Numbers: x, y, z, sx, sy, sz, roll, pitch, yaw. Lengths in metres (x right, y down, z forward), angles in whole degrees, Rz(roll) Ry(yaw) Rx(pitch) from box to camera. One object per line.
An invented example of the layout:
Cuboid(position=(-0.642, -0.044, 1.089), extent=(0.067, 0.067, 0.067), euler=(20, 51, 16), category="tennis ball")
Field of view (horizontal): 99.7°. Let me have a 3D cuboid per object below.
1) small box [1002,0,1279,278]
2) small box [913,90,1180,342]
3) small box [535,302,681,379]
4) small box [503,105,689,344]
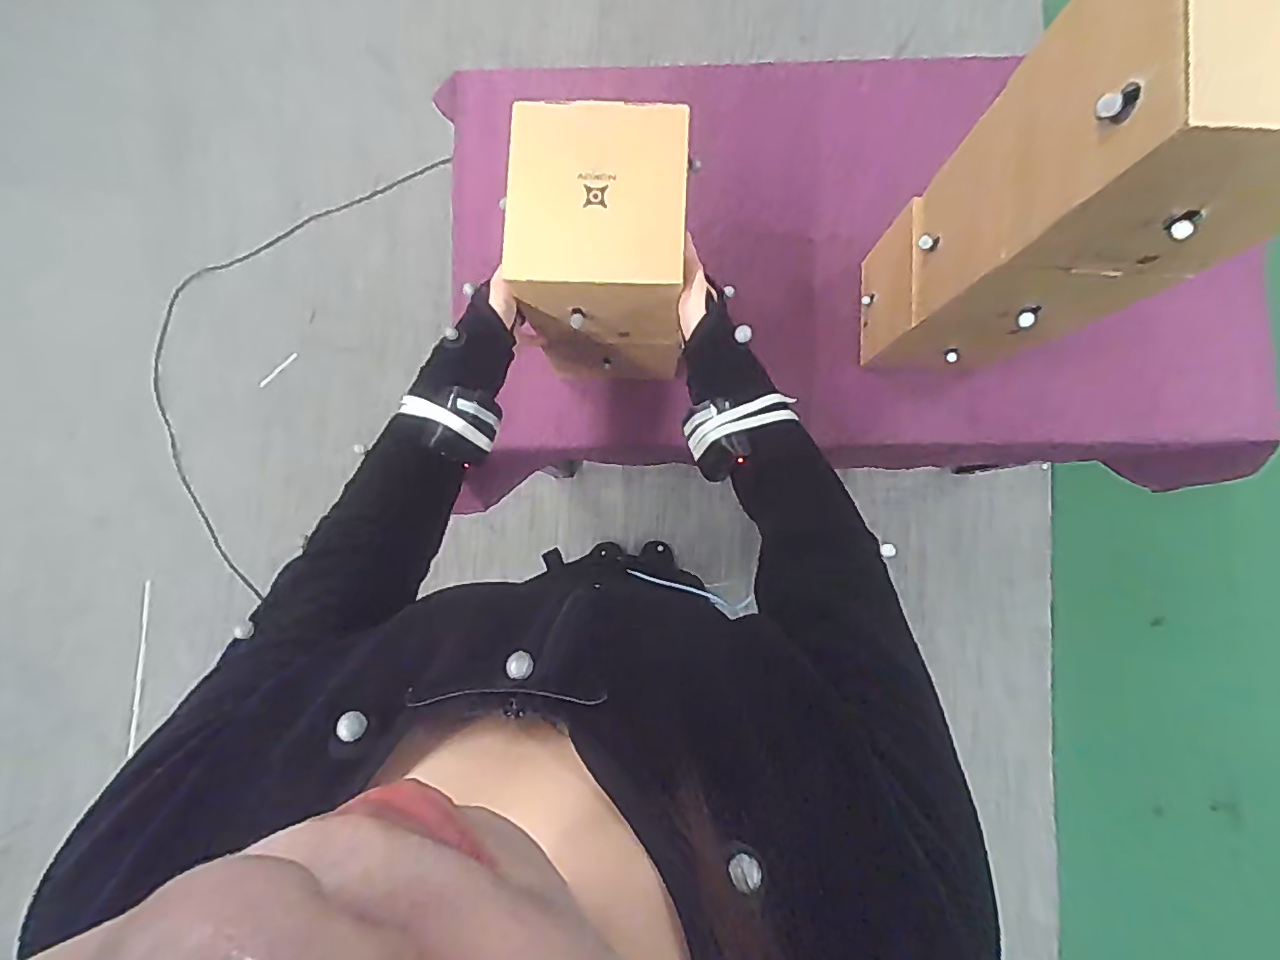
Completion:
Cuboid(position=(0.402, -0.269, 0.400), extent=(0.168, 0.176, 0.179), euler=(5, 85, 2), category="small box")
Cuboid(position=(0.408, -0.257, 0.565), extent=(0.168, 0.176, 0.179), euler=(6, 86, 2), category="small box")
Cuboid(position=(-0.036, -0.239, 0.736), extent=(0.179, 0.176, 0.168), euler=(1, 85, 2), category="small box")
Cuboid(position=(-0.037, -0.254, 0.574), extent=(0.168, 0.176, 0.179), euler=(2, 84, 2), category="small box")
